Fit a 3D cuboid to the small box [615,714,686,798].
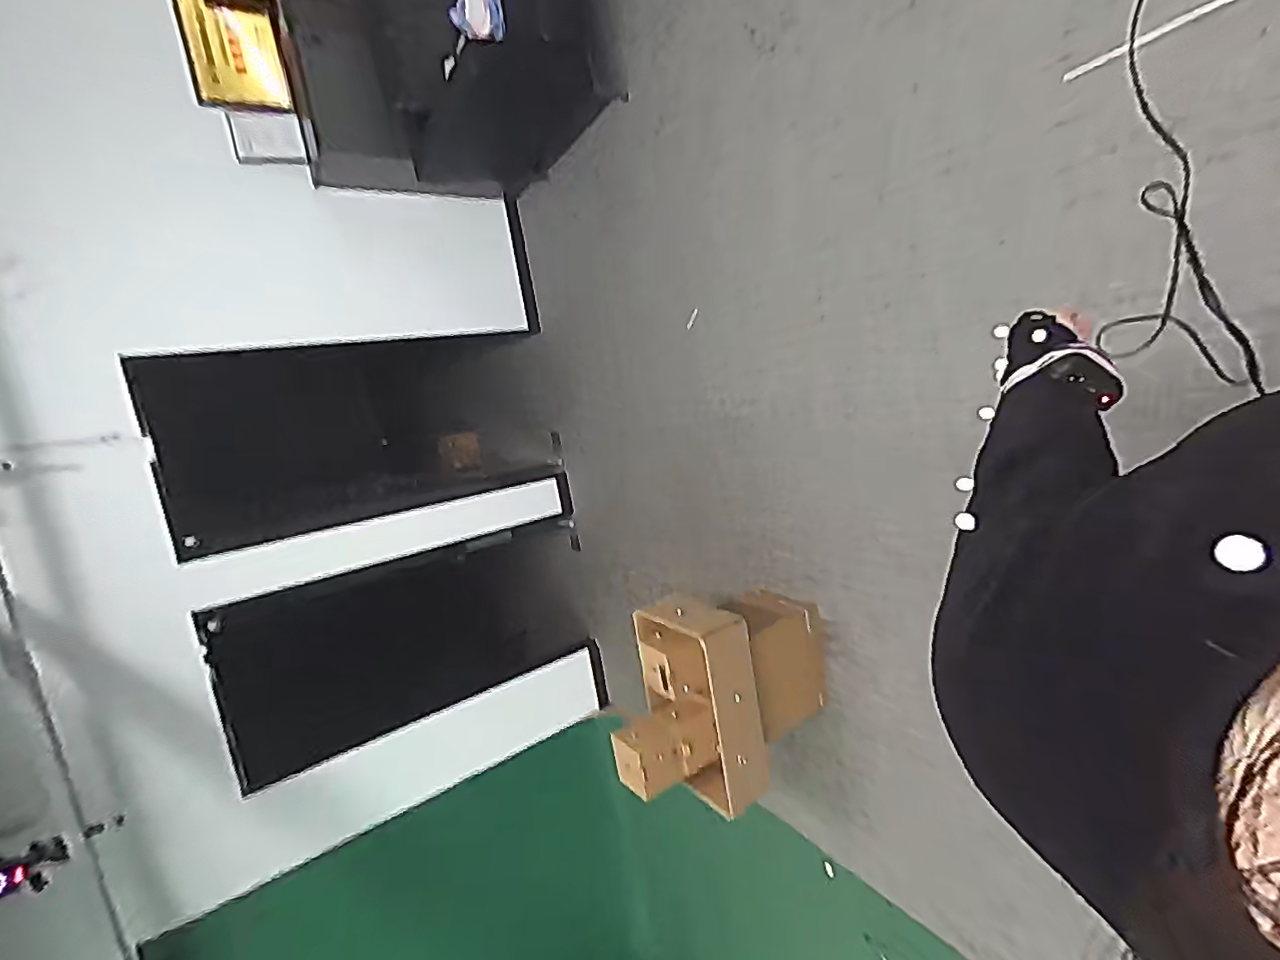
[{"bbox_3d":[0.042,0.924,1.832,0.179,0.176,0.168,-4,97,58],"label":"small box"}]
